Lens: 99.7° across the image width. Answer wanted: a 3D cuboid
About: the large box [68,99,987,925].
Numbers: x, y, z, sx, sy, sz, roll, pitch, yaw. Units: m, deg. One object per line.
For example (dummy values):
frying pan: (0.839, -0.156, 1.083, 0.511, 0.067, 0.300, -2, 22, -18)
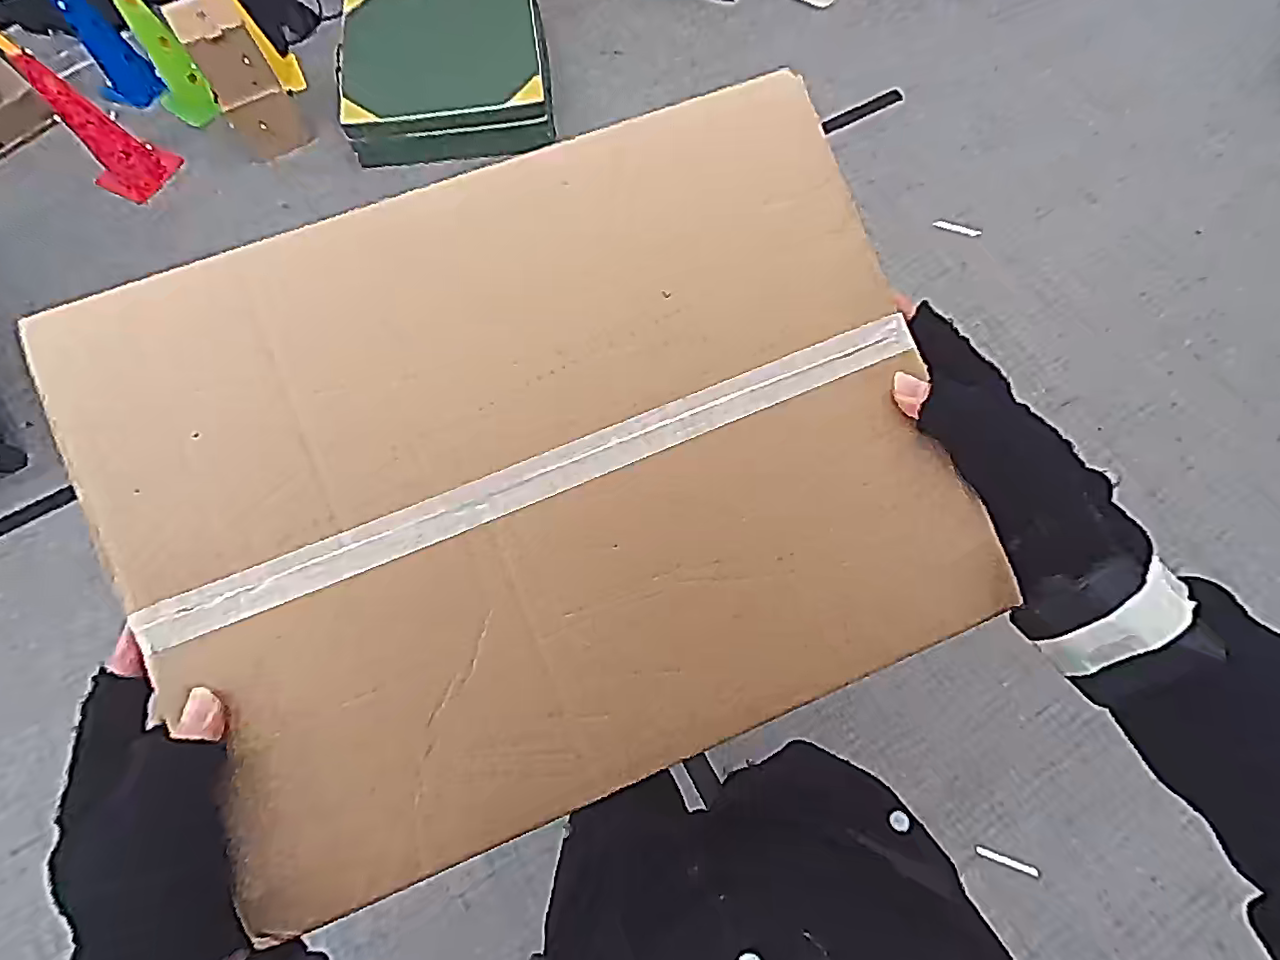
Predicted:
large box: (-0.055, 0.007, 0.430, 0.408, 0.320, 0.320, -22, 88, -6)
